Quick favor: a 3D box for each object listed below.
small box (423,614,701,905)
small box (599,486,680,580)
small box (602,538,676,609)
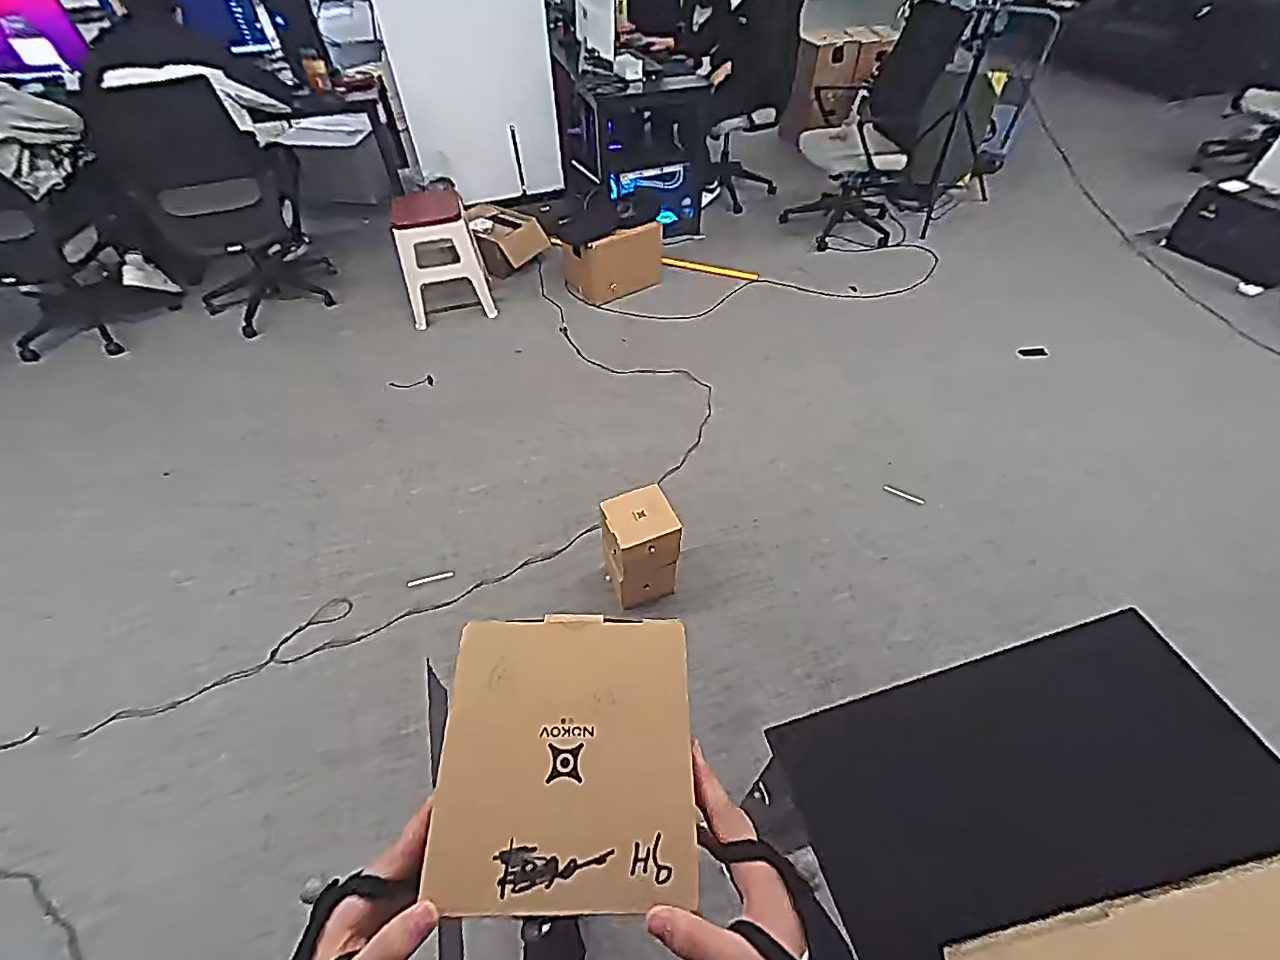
[{"bbox_3d":[-0.047,0.219,0.425,0.168,0.176,0.179,-1,56,-1],"label":"small box"},{"bbox_3d":[-0.002,0.152,1.502,0.179,0.176,0.168,-18,52,-16],"label":"small box"},{"bbox_3d":[-0.005,0.260,1.623,0.179,0.176,0.168,-17,51,-12],"label":"small box"}]
